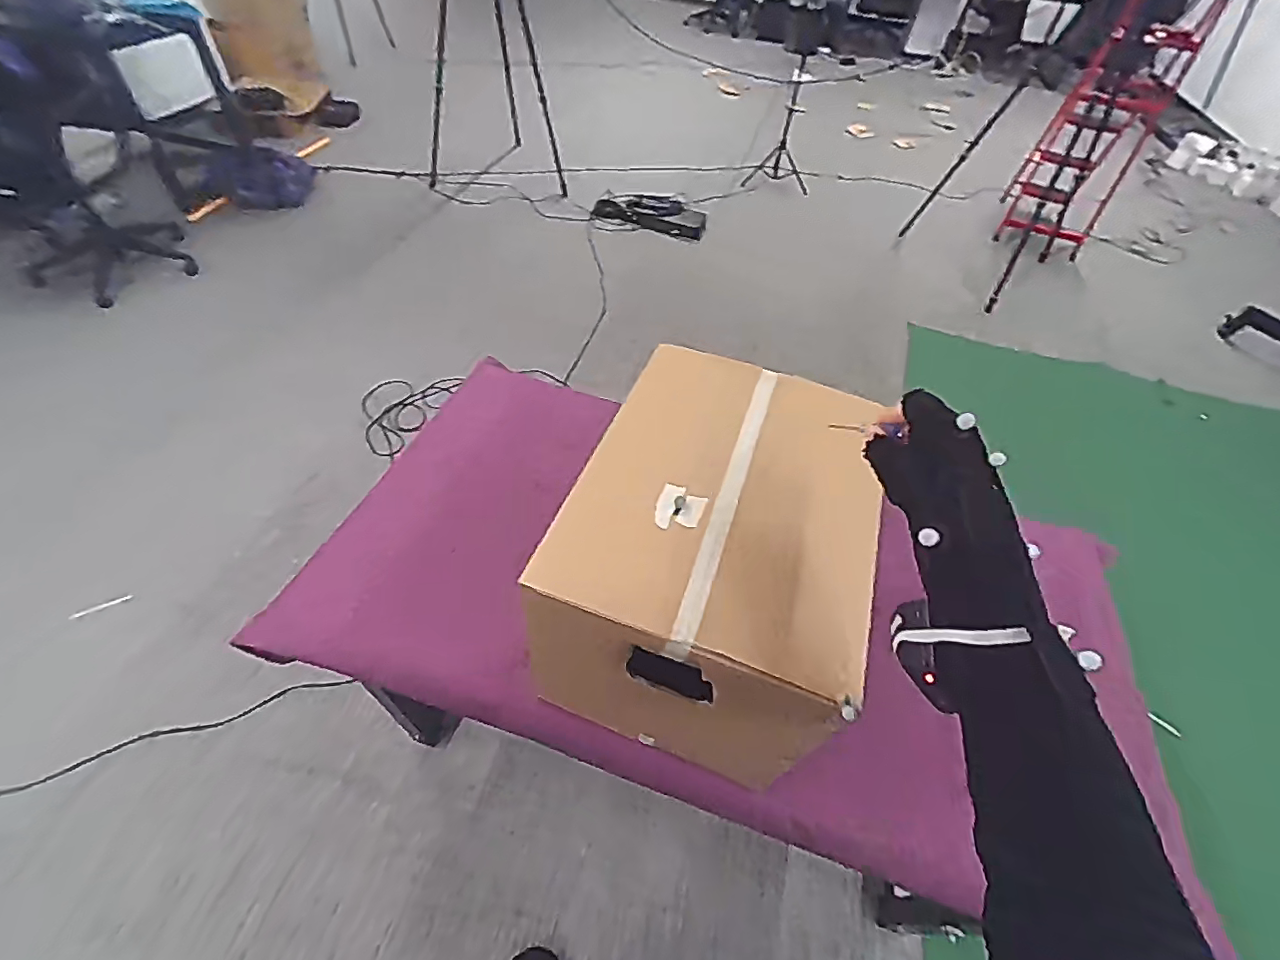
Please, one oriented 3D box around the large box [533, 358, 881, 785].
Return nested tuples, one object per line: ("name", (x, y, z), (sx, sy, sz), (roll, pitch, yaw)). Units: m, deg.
("large box", (0.092, 0.111, 0.720), (0.320, 0.320, 0.408), (19, 51, 10))
